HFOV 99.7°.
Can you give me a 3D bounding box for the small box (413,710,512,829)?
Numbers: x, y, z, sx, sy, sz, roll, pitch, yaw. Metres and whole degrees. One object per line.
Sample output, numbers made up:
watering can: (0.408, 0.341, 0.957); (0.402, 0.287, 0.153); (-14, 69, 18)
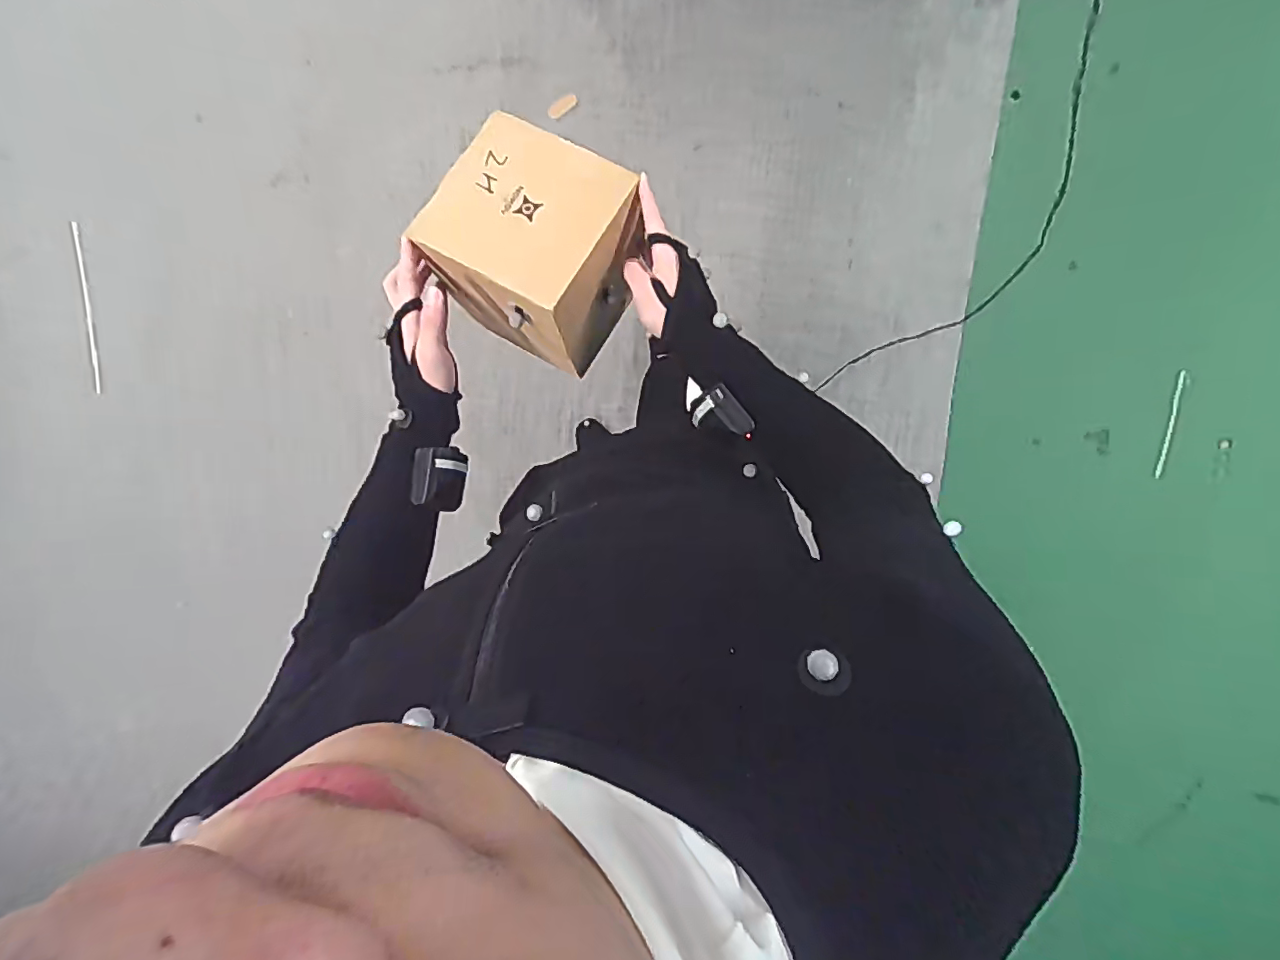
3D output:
small box: (-0.445, 0.732, 1.381); (0.168, 0.176, 0.179); (23, 98, -4)
